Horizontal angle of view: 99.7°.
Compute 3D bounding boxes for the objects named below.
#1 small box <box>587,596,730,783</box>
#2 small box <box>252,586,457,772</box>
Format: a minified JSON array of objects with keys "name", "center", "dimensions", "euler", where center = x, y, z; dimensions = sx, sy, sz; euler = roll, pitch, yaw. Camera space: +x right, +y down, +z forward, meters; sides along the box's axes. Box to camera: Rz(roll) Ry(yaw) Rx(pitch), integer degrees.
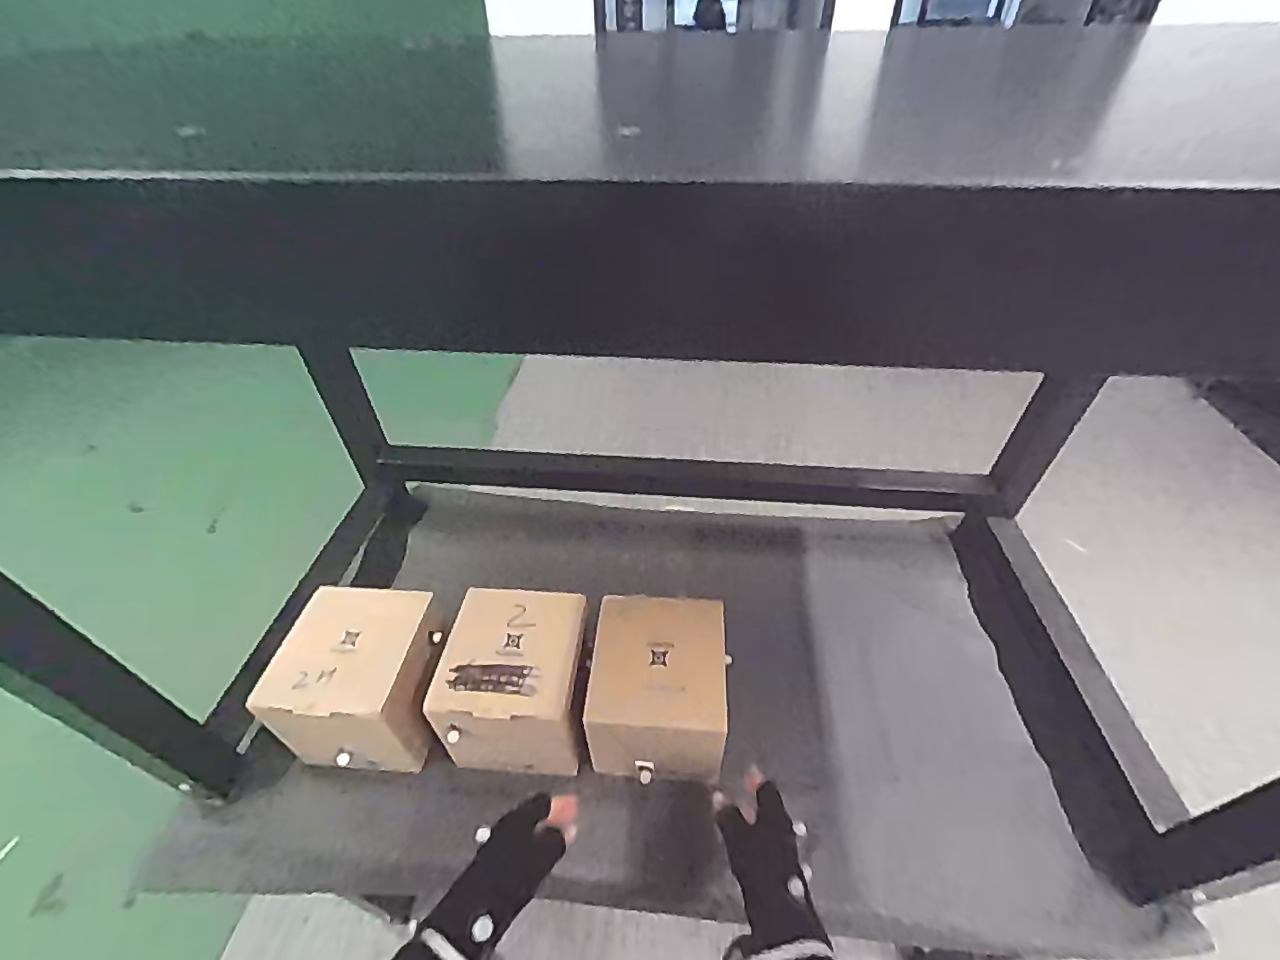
[{"name":"small box","center":[0.028,0.278,0.724],"dimensions":[0.168,0.176,0.179],"euler":[1,43,4]},{"name":"small box","center":[-0.365,0.269,0.737],"dimensions":[0.168,0.176,0.179],"euler":[2,42,4]}]
